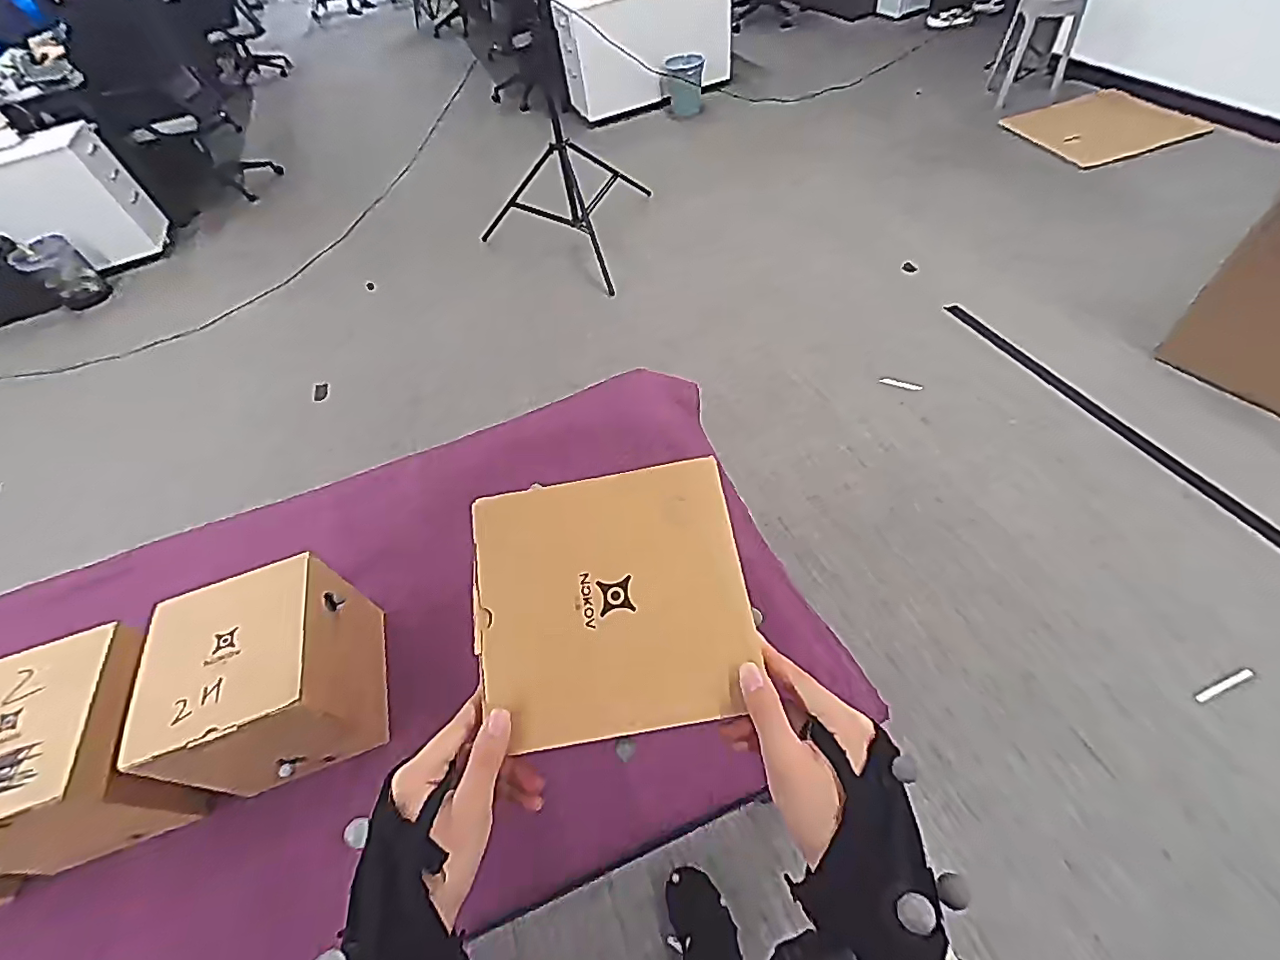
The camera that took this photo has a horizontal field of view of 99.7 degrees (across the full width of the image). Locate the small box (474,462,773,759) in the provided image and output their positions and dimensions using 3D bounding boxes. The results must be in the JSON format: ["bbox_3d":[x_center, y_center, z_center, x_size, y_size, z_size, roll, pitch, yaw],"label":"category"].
[{"bbox_3d":[-0.011,0.104,0.421,0.179,0.176,0.168,-11,68,2],"label":"small box"}]
